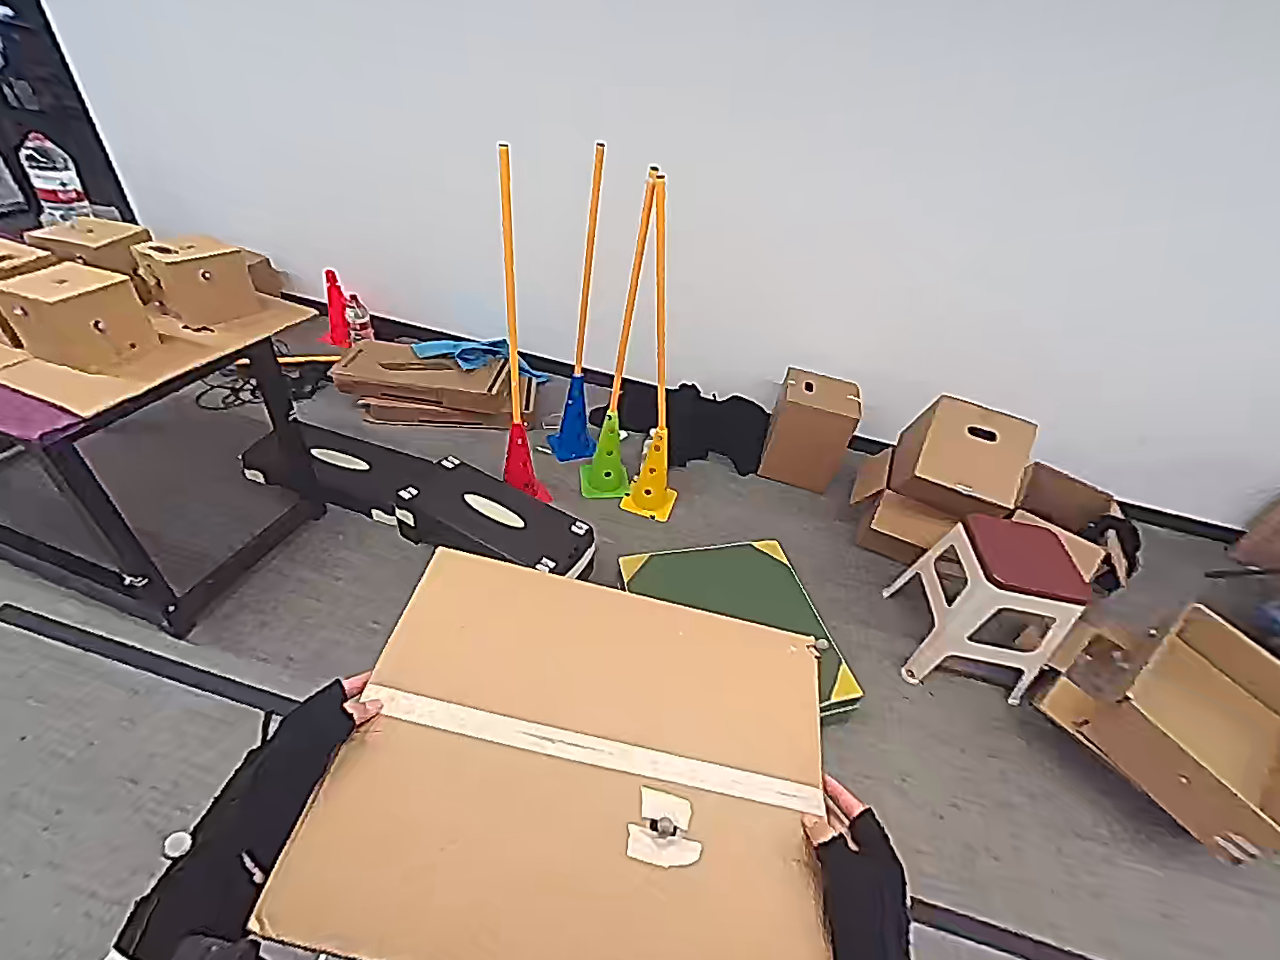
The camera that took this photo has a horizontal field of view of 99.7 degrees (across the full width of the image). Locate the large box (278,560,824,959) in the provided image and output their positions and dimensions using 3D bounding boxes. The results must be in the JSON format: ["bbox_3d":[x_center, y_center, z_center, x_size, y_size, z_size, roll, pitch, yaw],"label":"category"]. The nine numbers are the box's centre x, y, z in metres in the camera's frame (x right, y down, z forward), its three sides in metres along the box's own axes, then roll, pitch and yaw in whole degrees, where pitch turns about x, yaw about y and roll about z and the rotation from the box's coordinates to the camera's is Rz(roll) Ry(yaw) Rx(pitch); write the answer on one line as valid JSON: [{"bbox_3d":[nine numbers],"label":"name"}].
[{"bbox_3d":[-0.065,0.332,0.587,0.408,0.320,0.320,14,49,-2],"label":"large box"}]
